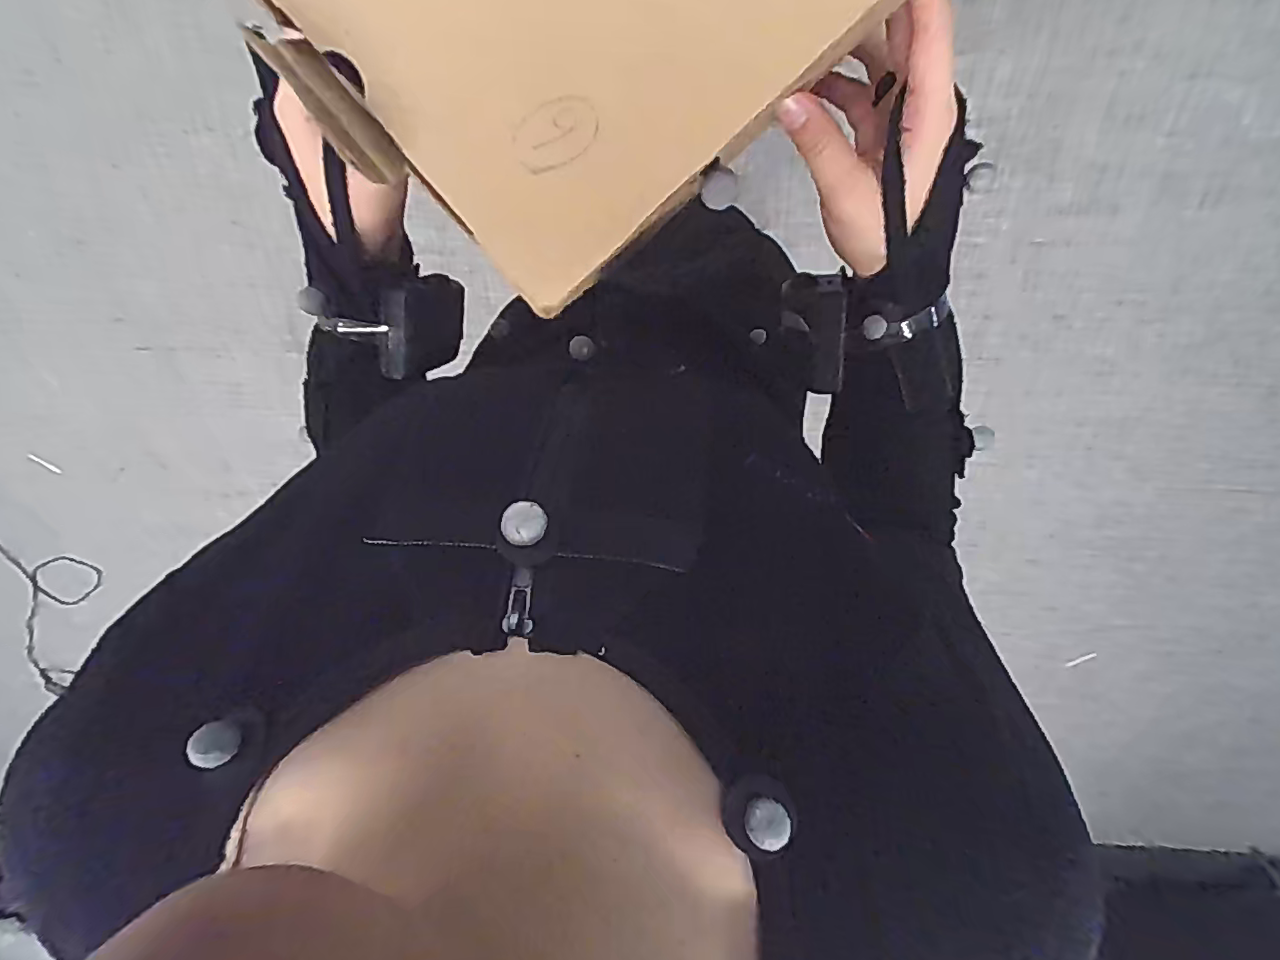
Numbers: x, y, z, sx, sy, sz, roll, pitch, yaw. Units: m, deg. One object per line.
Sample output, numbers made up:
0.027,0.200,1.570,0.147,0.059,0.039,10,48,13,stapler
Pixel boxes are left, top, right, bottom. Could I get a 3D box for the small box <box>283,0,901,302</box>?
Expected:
-0.009,-0.199,0.210,0.179,0.176,0.168,-37,108,20,small box
